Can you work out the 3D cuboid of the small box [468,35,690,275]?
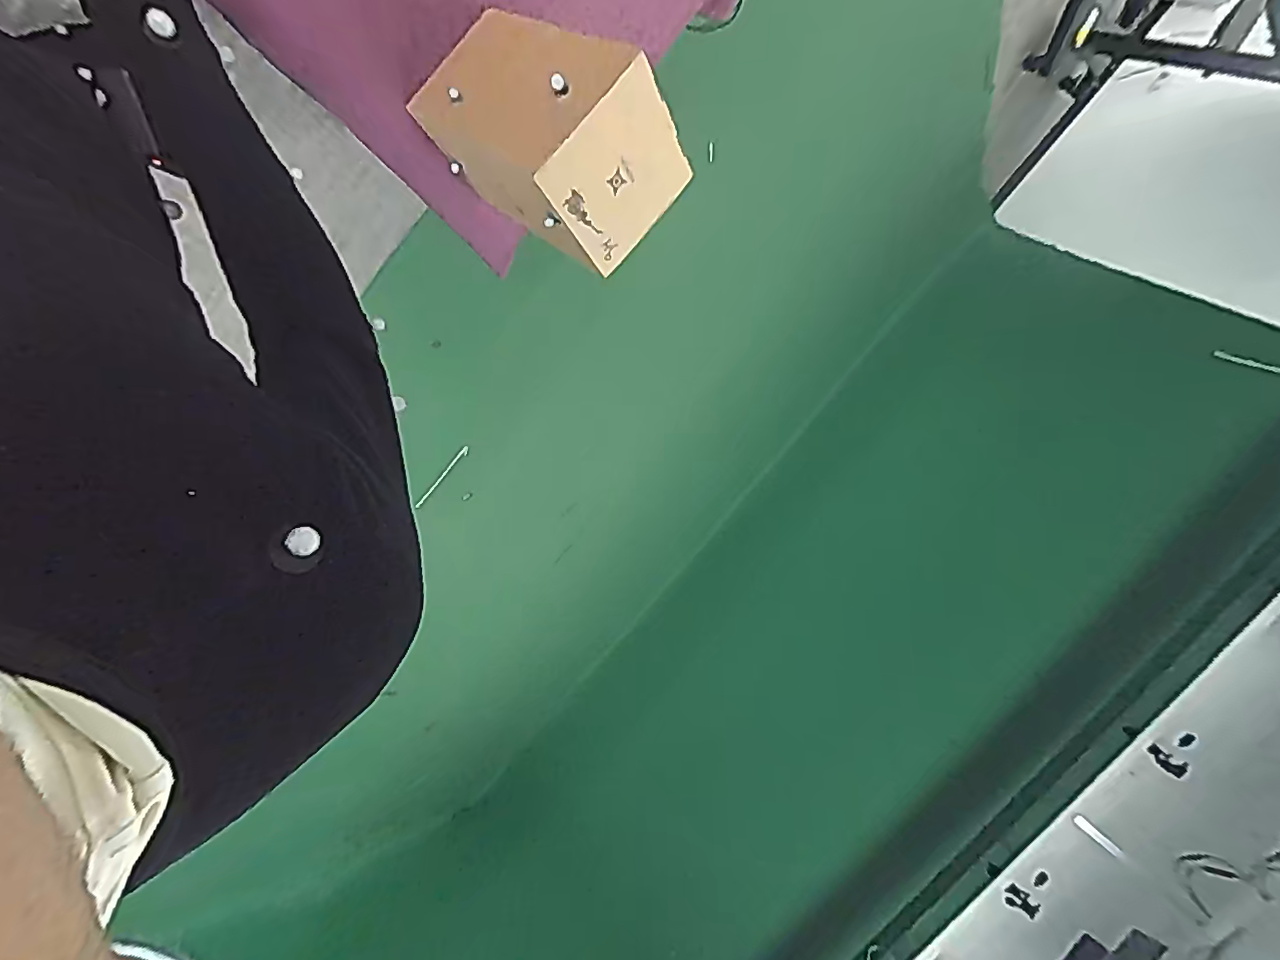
[{"bbox_3d":[-0.075,-0.398,0.664,0.179,0.176,0.168,-49,148,1],"label":"small box"}]
